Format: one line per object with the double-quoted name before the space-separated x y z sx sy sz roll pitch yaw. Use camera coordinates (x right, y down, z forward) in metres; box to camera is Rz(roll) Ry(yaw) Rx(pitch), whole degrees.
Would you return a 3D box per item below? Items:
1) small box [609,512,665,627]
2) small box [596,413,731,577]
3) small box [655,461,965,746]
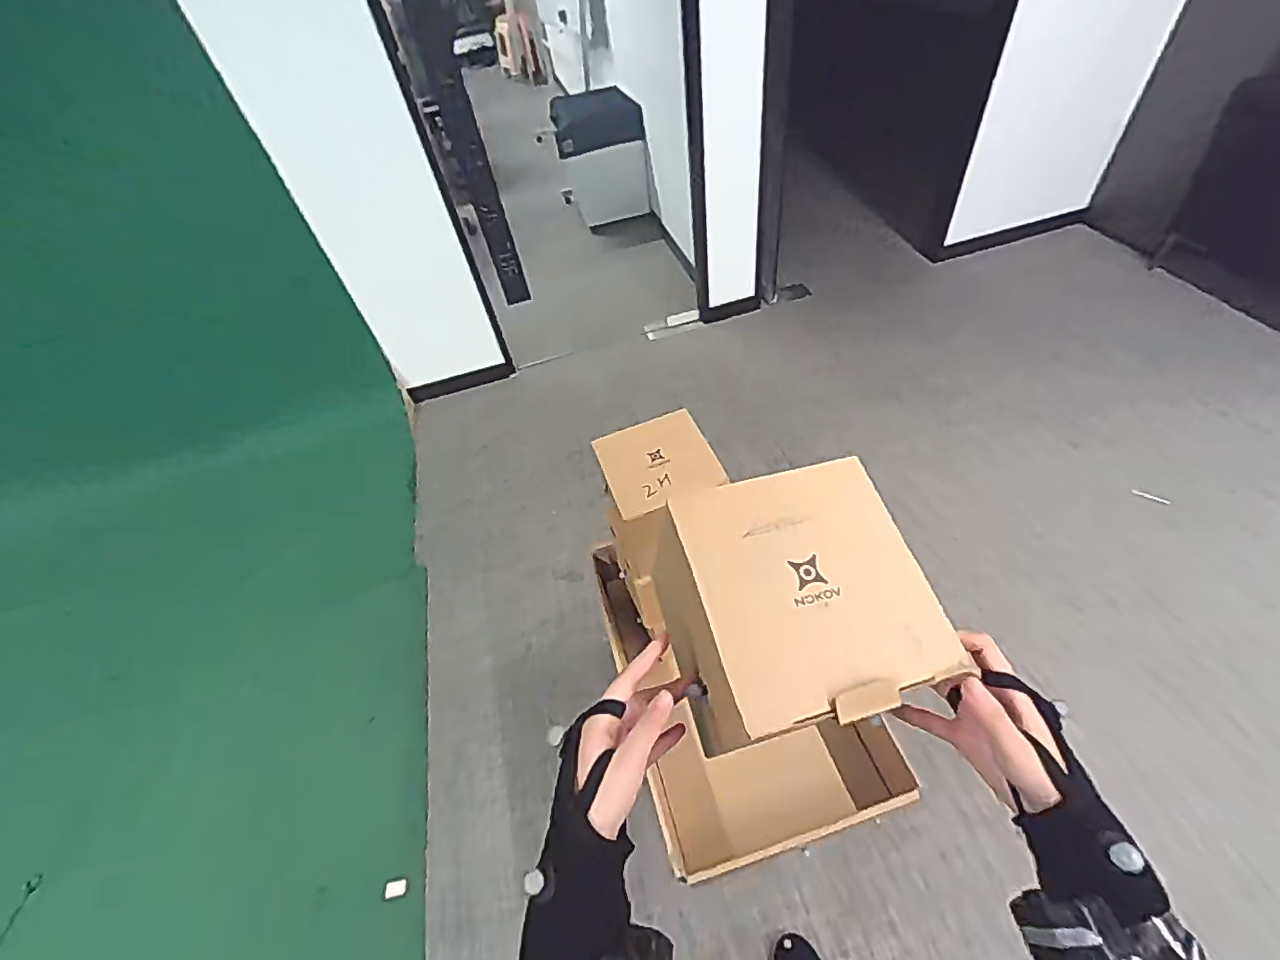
"small box" 0.059 0.142 1.000 0.179 0.176 0.168 -21 50 -7
"small box" 0.040 0.026 0.883 0.168 0.176 0.179 -20 50 -6
"small box" 0.116 0.112 0.456 0.168 0.176 0.179 -11 60 -11
